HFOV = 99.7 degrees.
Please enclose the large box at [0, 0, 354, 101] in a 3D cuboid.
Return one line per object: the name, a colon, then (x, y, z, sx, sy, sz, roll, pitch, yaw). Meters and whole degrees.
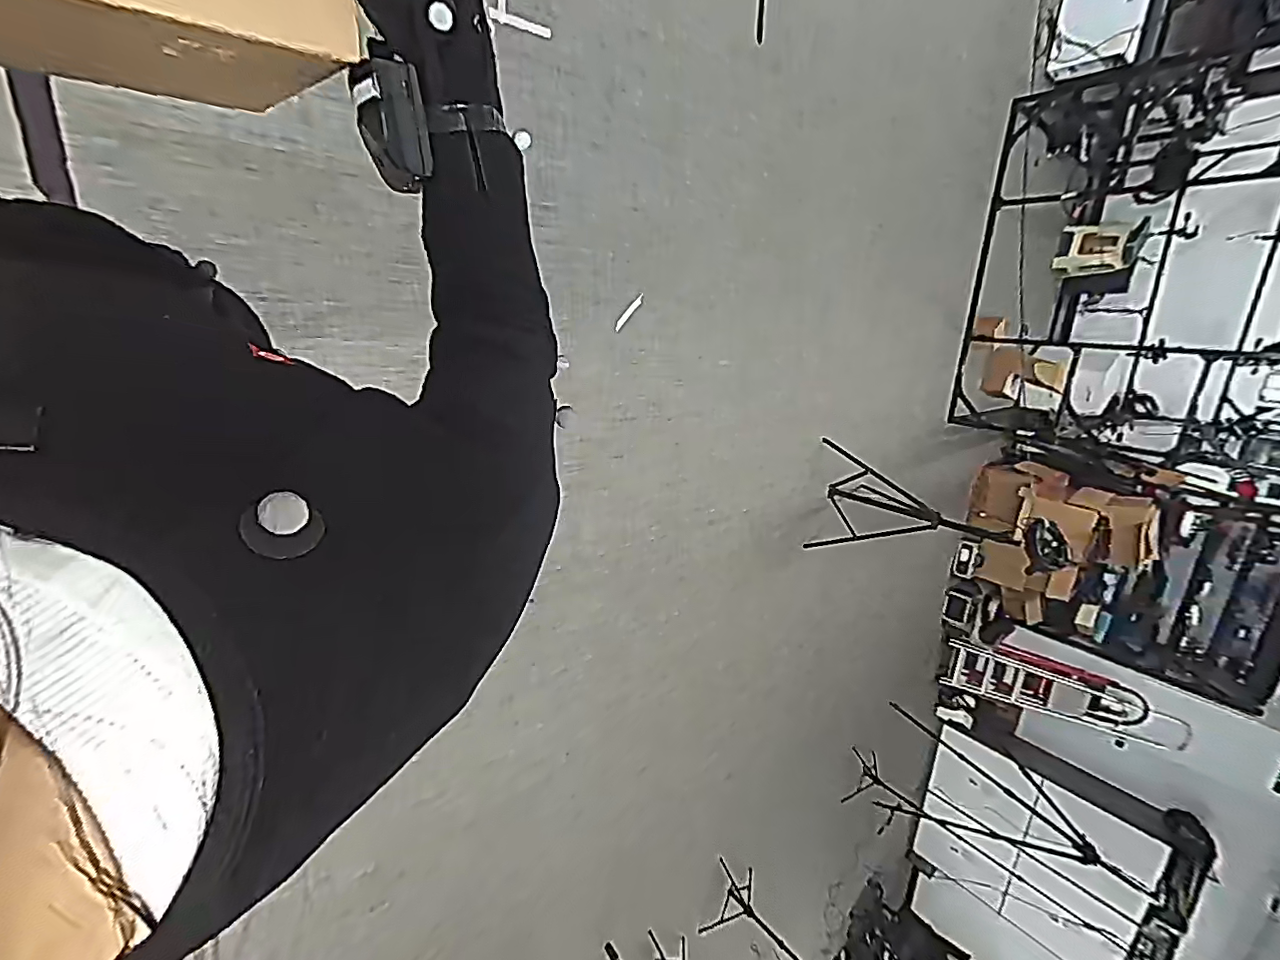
large box: (-0.404, -0.397, 0.231, 0.408, 0.320, 0.320, -17, 123, -39)
